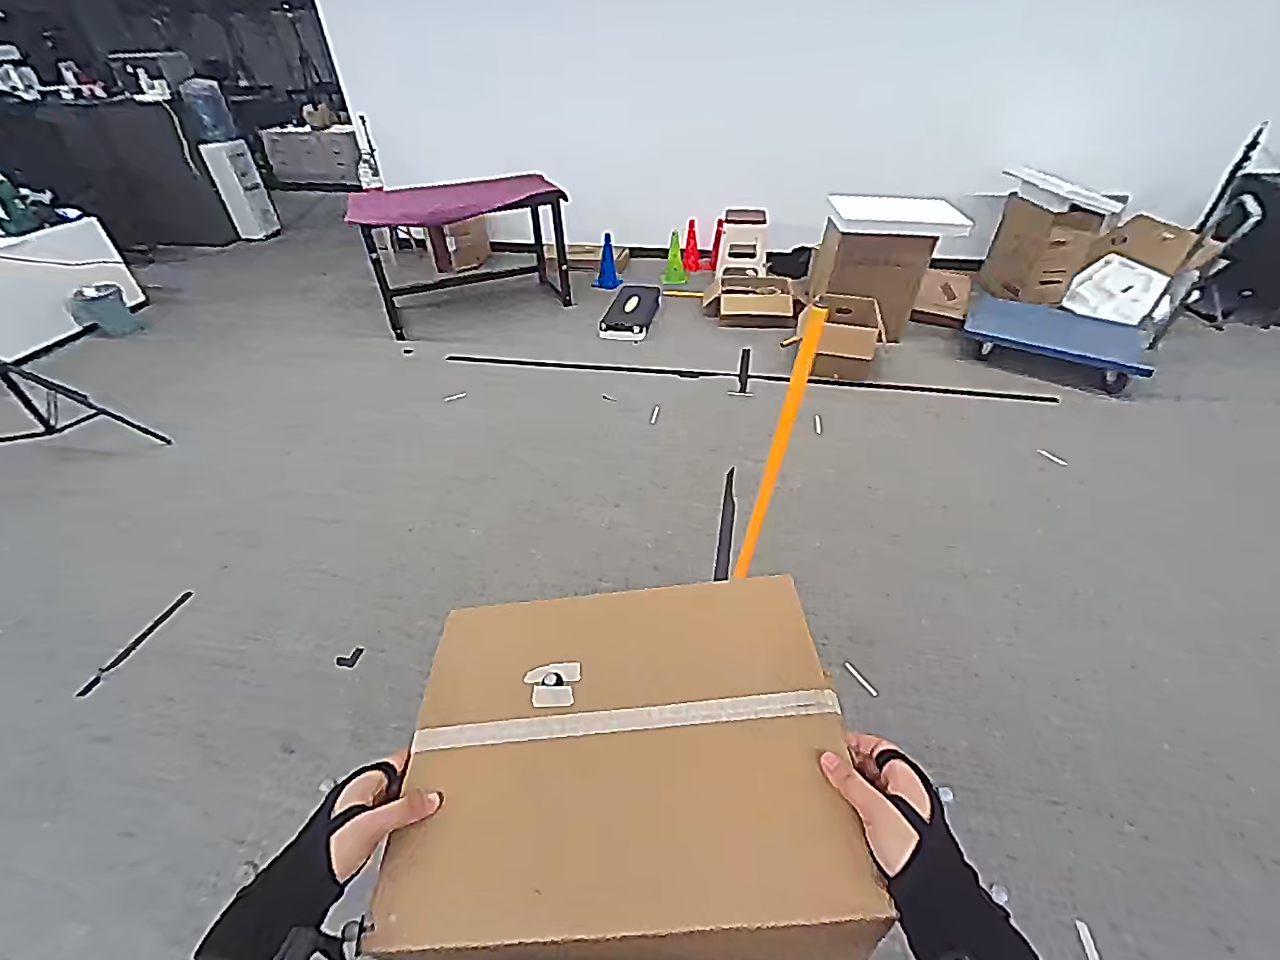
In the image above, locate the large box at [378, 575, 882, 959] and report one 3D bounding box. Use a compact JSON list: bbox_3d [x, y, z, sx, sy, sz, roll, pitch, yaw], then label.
[{"bbox_3d":[0.005,0.349,0.622,0.408,0.320,0.320,-8,39,4],"label":"large box"}]
